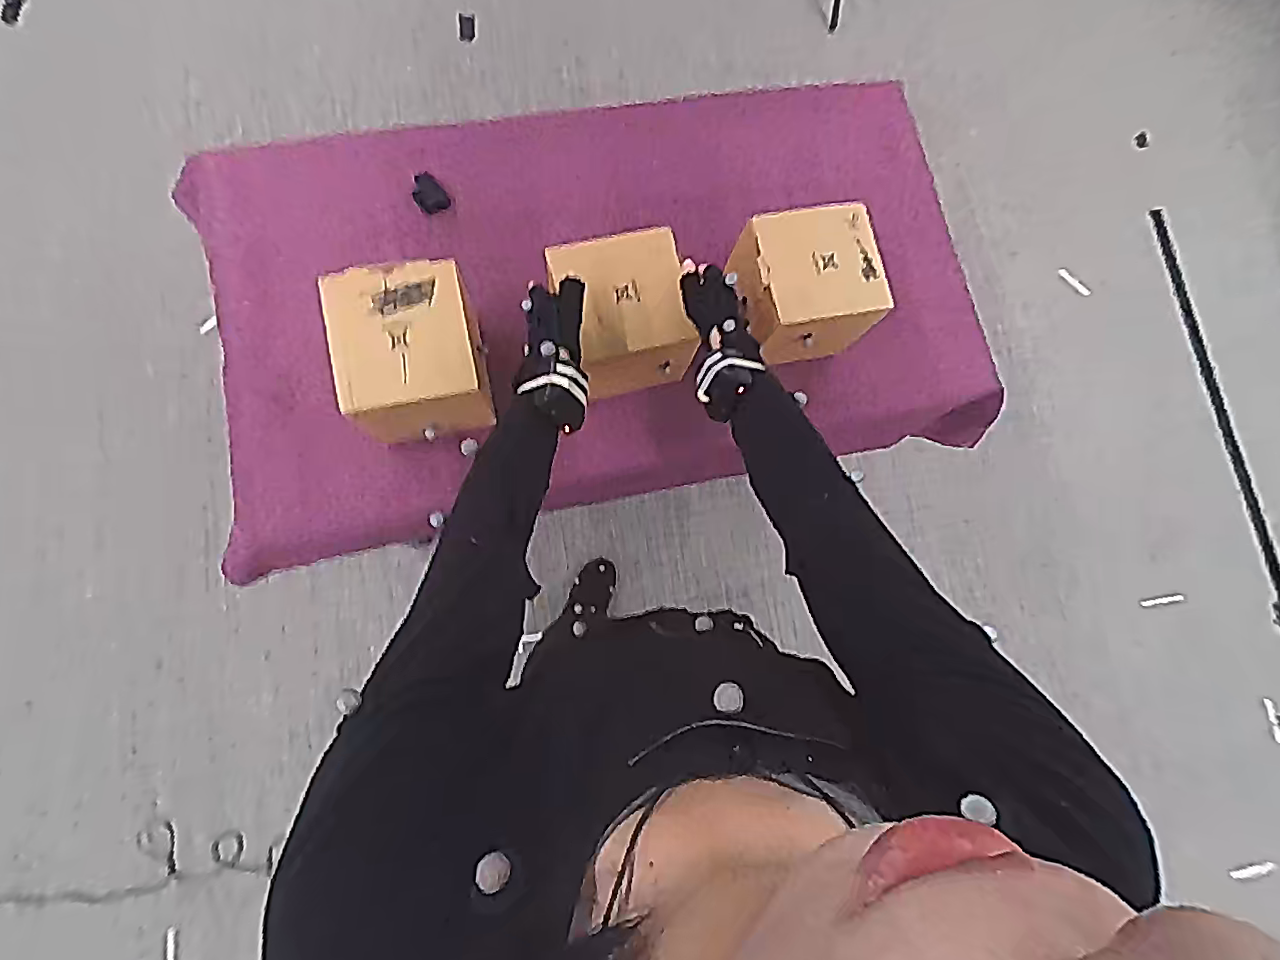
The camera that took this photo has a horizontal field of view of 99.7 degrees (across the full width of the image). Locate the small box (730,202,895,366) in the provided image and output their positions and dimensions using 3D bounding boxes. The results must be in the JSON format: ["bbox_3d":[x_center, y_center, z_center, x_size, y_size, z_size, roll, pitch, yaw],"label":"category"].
[{"bbox_3d":[0.247,-0.289,0.829,0.179,0.176,0.168,-11,82,-8],"label":"small box"}]

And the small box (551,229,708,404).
[{"bbox_3d":[-0.022,-0.228,0.789,0.179,0.176,0.168,-16,81,-8],"label":"small box"}]
